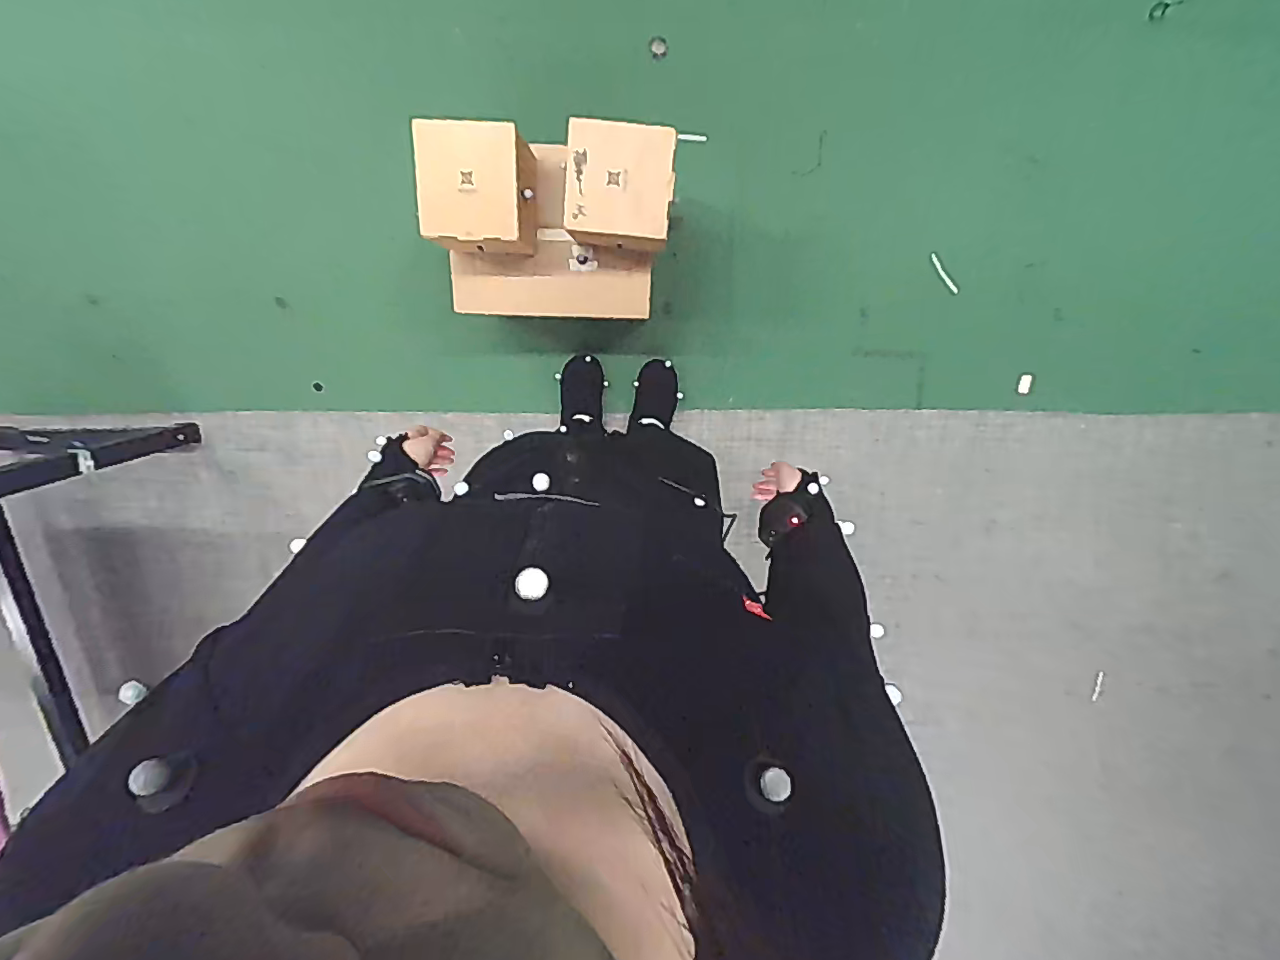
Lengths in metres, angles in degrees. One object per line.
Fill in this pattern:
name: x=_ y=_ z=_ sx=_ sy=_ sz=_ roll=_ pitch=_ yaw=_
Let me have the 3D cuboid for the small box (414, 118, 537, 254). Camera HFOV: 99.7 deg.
small box: x=-0.279 y=-0.504 z=0.949 sx=0.168 sy=0.176 sz=0.179 roll=2 pitch=107 yaw=0

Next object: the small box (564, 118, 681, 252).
small box: x=-0.029 y=-0.502 z=0.944 sx=0.179 sy=0.176 sz=0.168 roll=6 pitch=106 yaw=-1

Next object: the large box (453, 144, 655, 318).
large box: x=-0.171 y=-0.523 z=1.195 sx=0.408 sy=0.320 sz=0.320 roll=1 pitch=108 yaw=0
